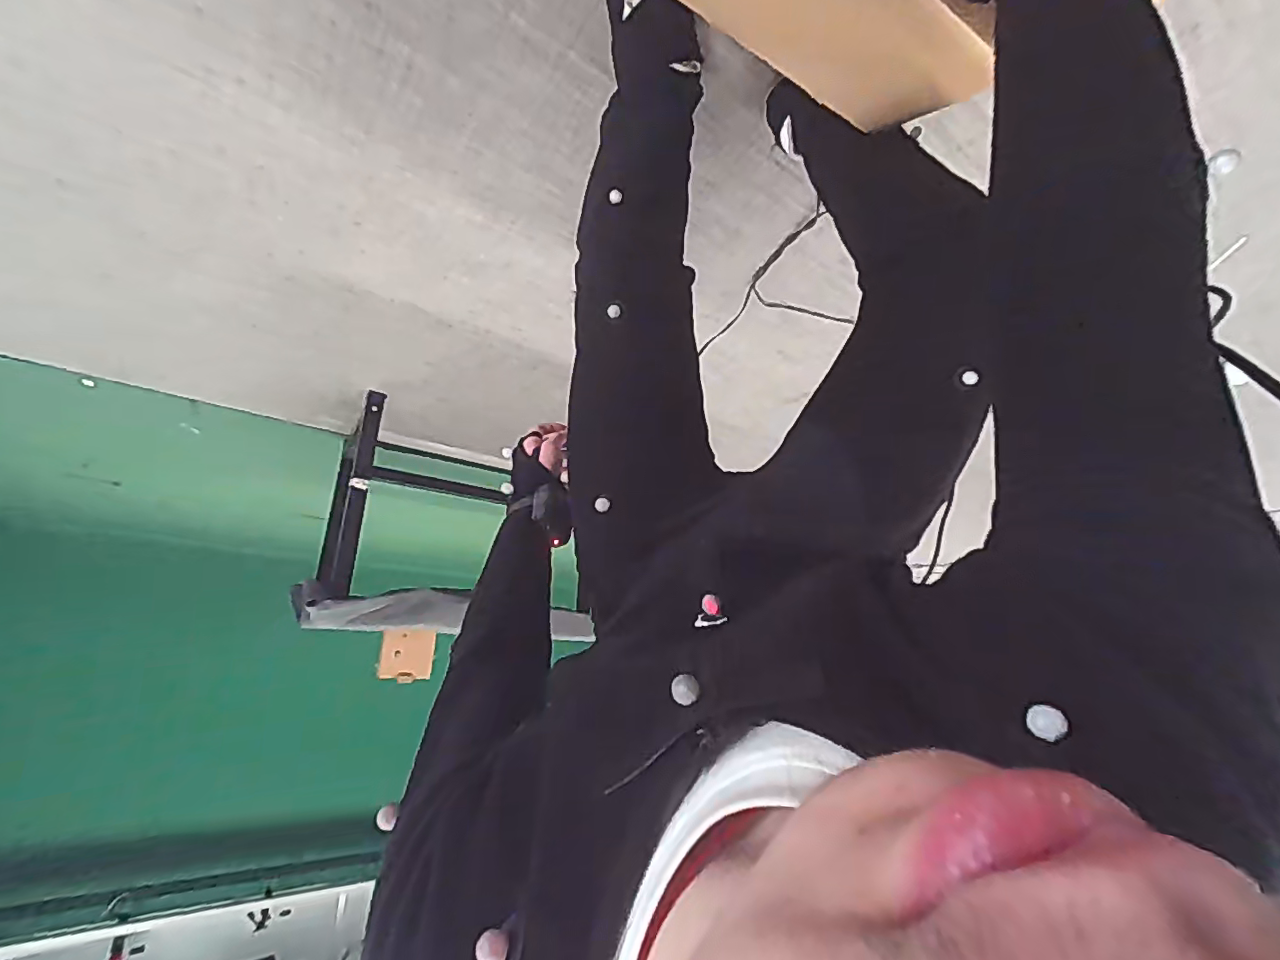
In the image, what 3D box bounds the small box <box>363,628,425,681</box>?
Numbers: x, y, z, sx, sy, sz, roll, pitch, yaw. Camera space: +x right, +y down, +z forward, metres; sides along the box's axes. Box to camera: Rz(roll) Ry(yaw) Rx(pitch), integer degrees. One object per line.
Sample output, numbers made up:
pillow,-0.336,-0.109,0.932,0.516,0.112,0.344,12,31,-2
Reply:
small box,-0.861,0.611,1.894,0.168,0.176,0.179,13,159,-25
